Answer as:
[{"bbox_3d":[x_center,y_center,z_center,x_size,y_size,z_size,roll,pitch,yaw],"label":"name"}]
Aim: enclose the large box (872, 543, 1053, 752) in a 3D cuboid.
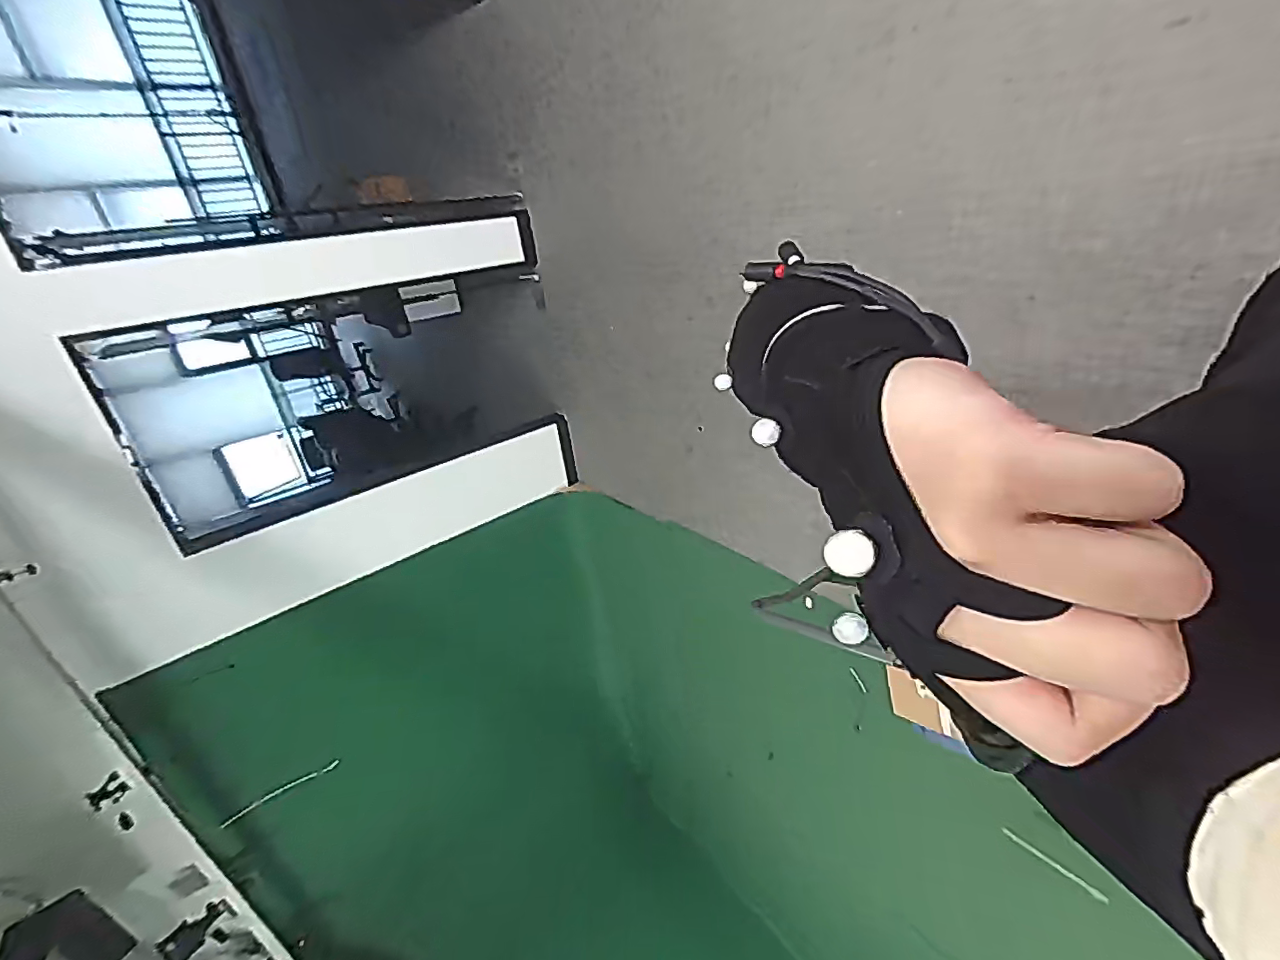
[{"bbox_3d":[0.885,0.424,1.475,0.320,0.320,0.408,5,115,53],"label":"large box"}]
